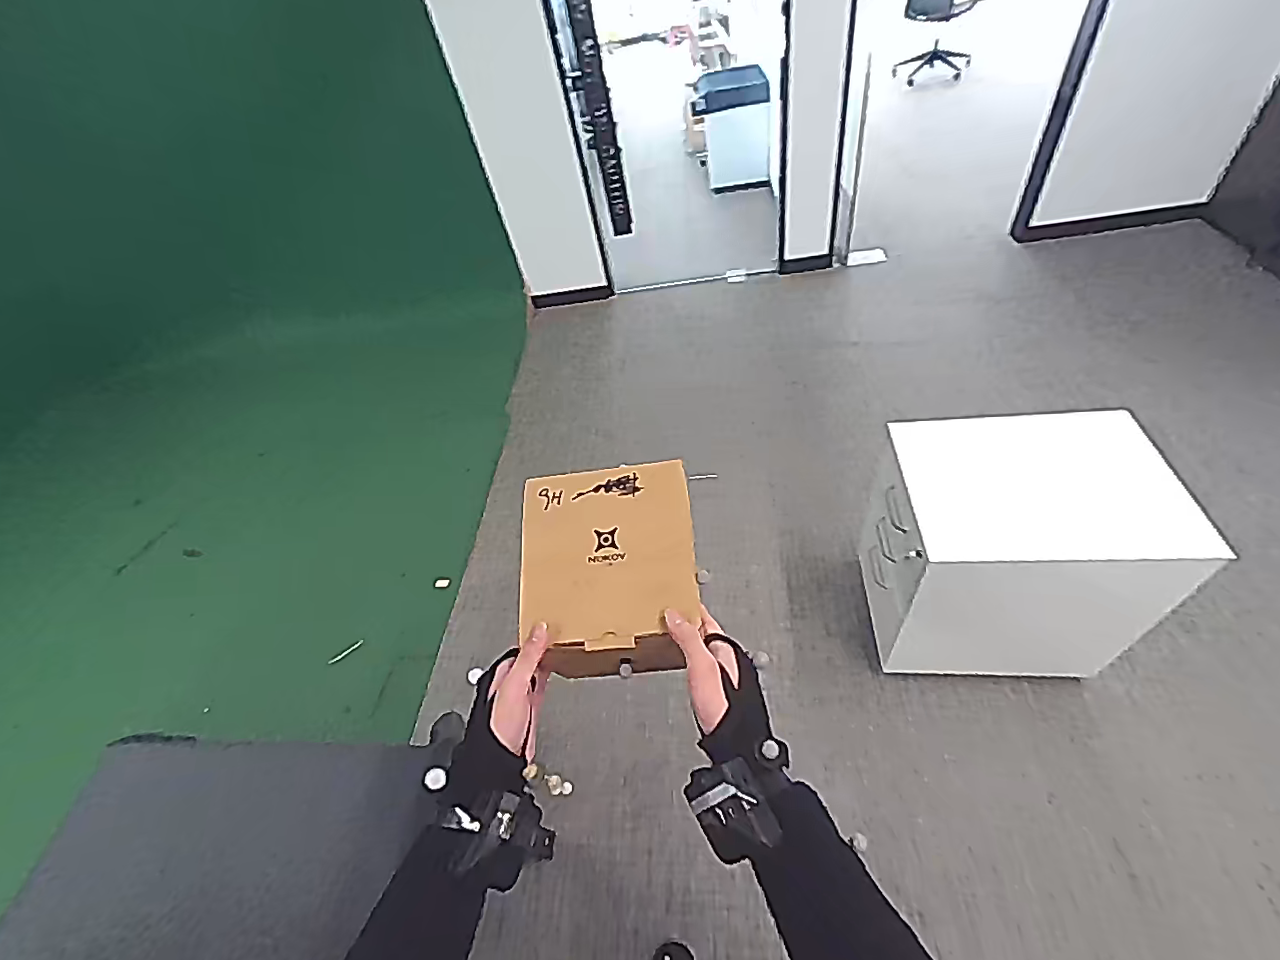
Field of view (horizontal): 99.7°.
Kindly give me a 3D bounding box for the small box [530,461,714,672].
[{"bbox_3d":[-0.014,0.105,0.591,0.168,0.176,0.179,-9,60,4],"label":"small box"}]
